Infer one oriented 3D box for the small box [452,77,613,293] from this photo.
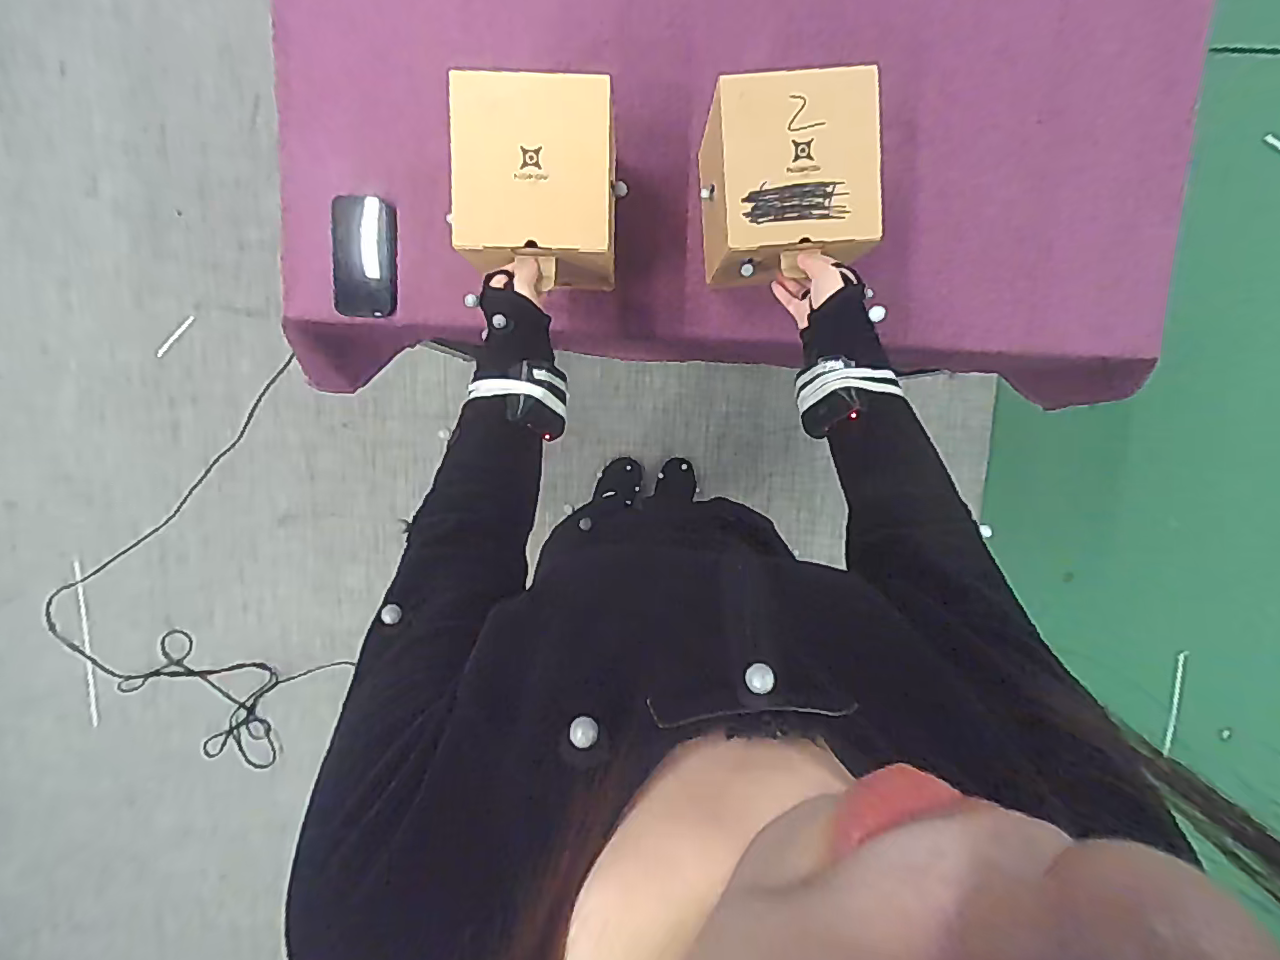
[{"bbox_3d":[-0.118,-0.336,0.647,0.168,0.176,0.179,1,97,-2],"label":"small box"}]
